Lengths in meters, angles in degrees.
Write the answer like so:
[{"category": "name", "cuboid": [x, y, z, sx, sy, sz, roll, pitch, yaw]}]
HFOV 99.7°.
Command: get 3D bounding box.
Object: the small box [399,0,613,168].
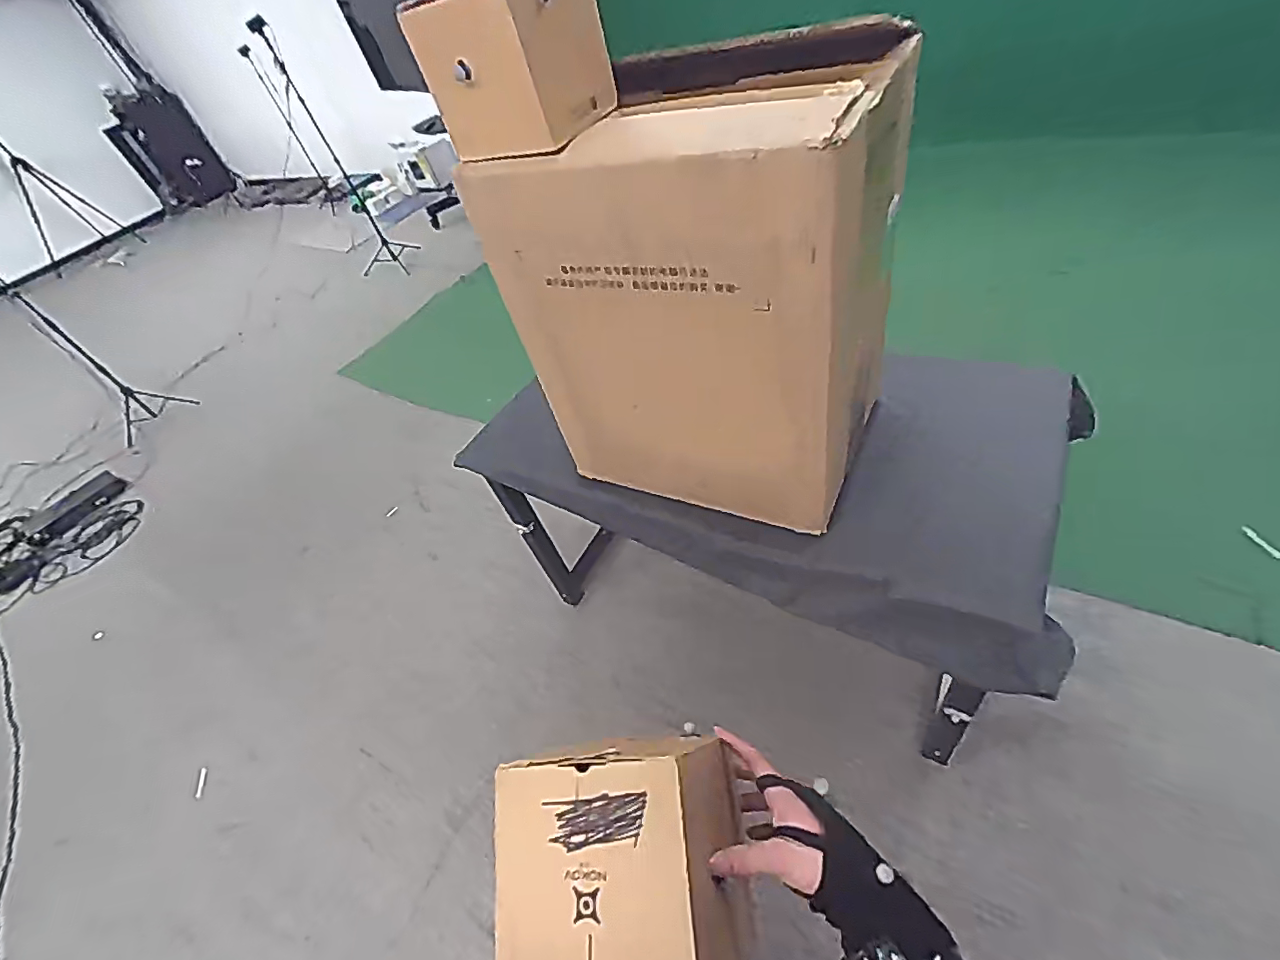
[{"category": "small box", "cuboid": [-0.164, -0.531, 0.708, 0.179, 0.176, 0.168, 13, 54, 30]}]
